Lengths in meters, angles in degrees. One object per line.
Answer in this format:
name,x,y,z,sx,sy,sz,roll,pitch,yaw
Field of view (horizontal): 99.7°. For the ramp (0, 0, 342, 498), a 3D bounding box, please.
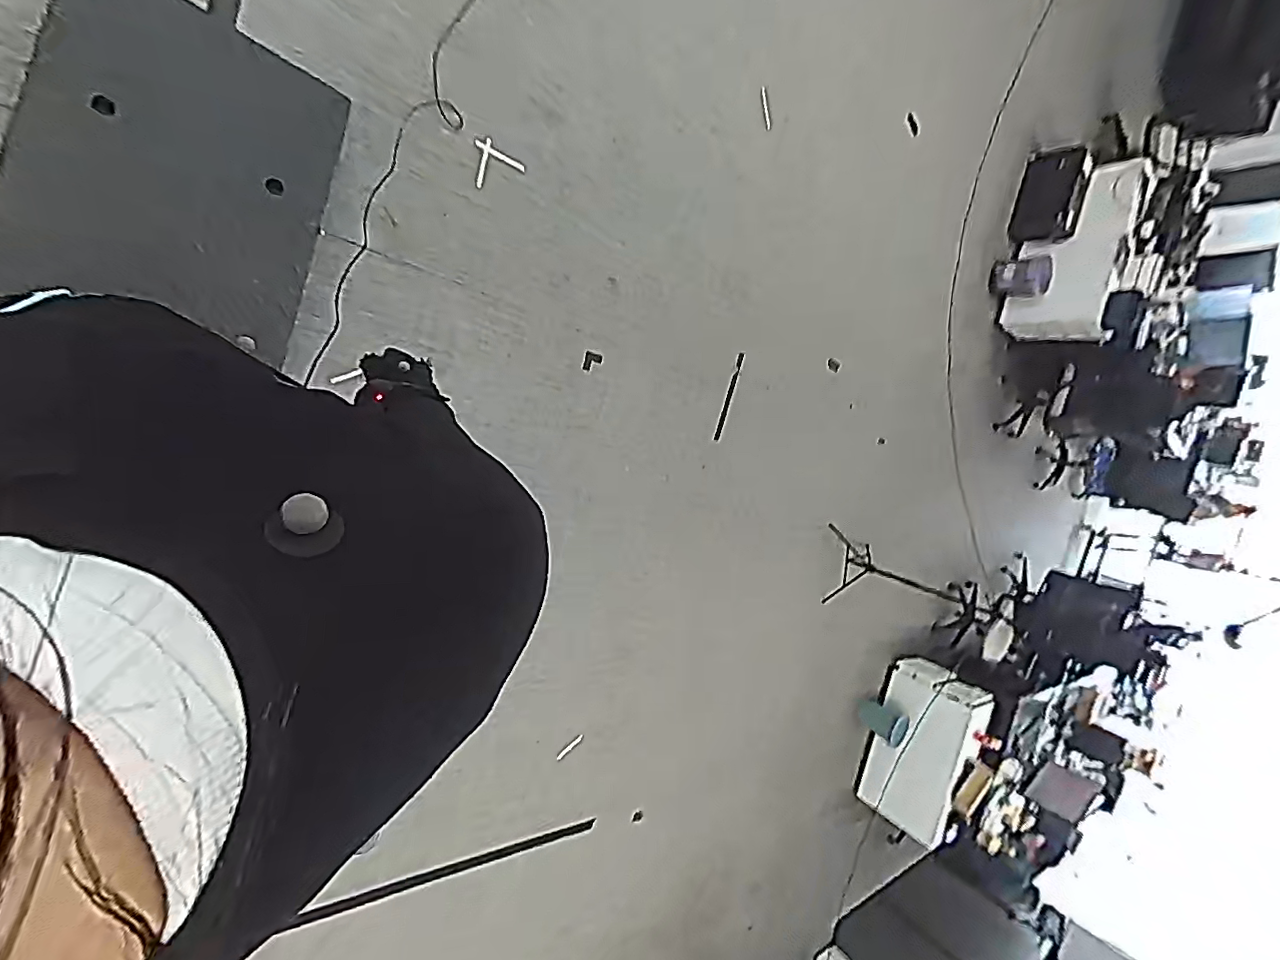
ramp,-0.990,-0.490,1.115,0.509,0.206,0.991,13,94,-39
